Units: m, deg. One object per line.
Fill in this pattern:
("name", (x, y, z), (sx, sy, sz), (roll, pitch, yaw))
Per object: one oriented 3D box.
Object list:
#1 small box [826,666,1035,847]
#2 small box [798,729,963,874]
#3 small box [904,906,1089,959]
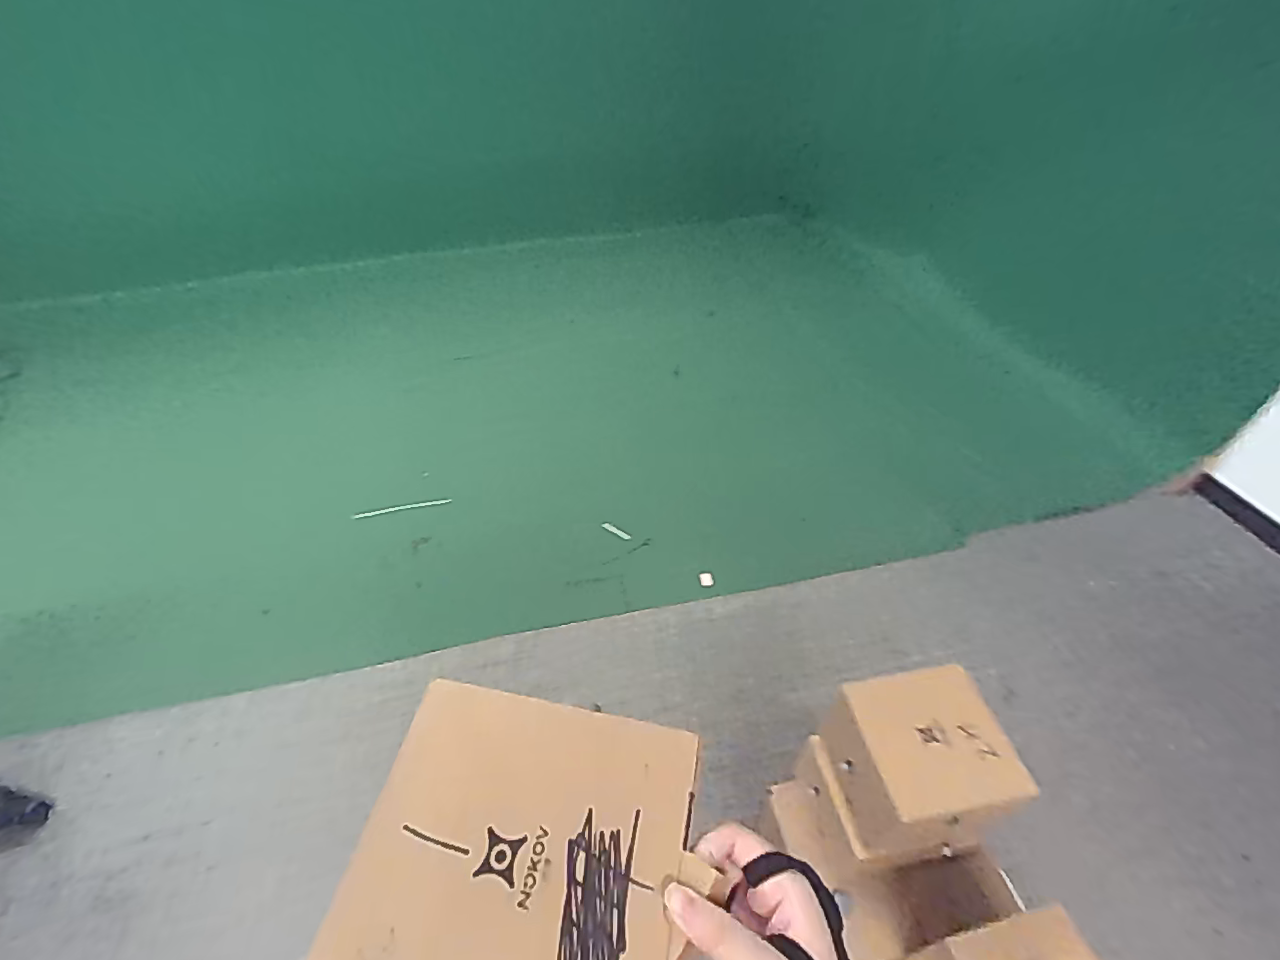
("small box", (0.370, 0.379, 0.736), (0.179, 0.176, 0.168), (-7, 47, -4))
("small box", (0.363, 0.496, 0.852), (0.179, 0.176, 0.168), (-8, 46, -6))
("small box", (0.468, 0.670, 0.675), (0.168, 0.176, 0.179), (-9, 44, -8))
